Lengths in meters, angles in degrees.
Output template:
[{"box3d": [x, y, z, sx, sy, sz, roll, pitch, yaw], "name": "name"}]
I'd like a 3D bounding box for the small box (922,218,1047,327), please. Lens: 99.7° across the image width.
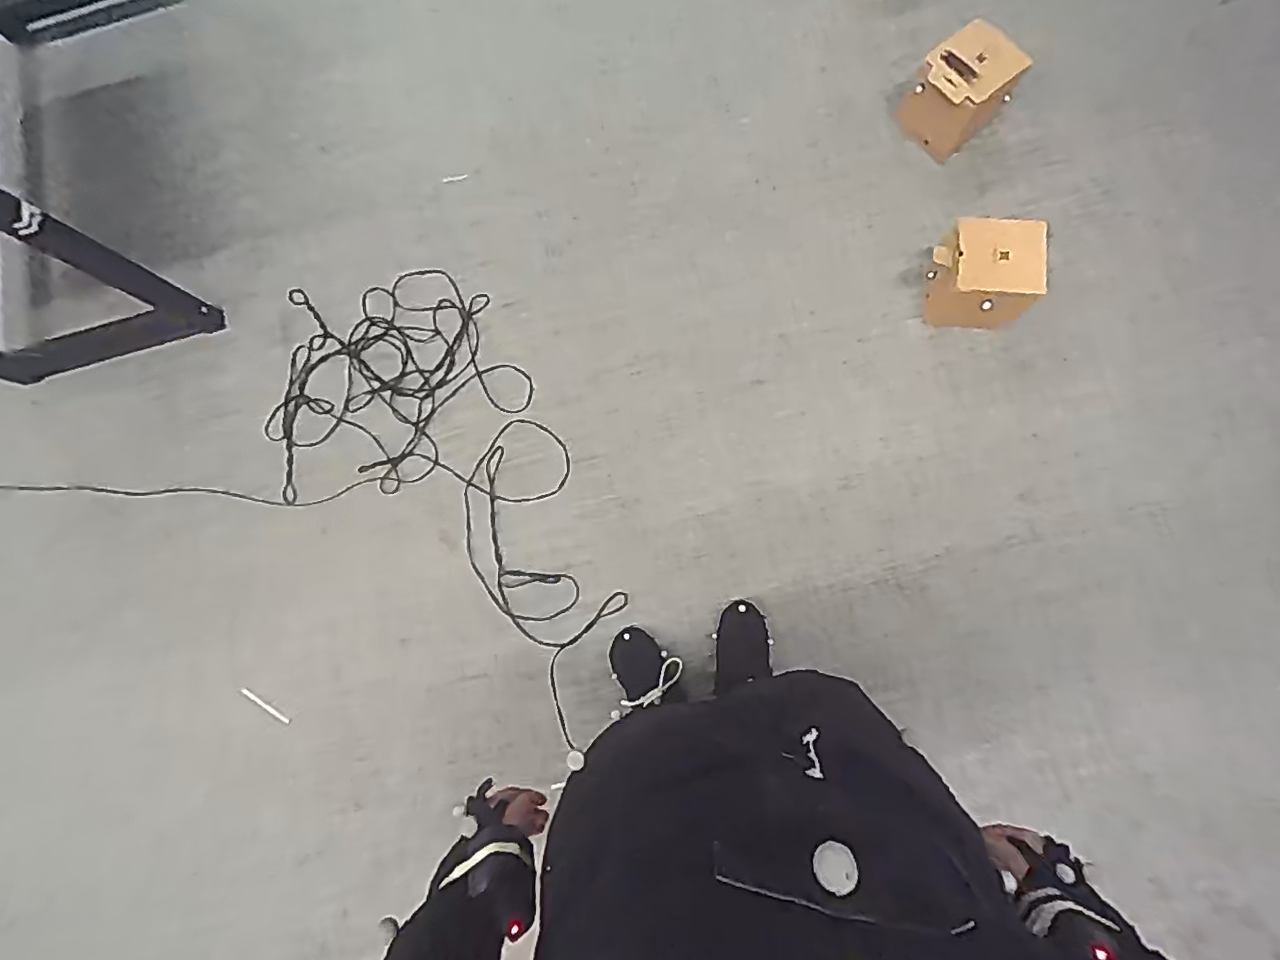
[{"box3d": [0.754, -0.450, 1.195, 0.179, 0.176, 0.168, 5, 81, 6], "name": "small box"}]
